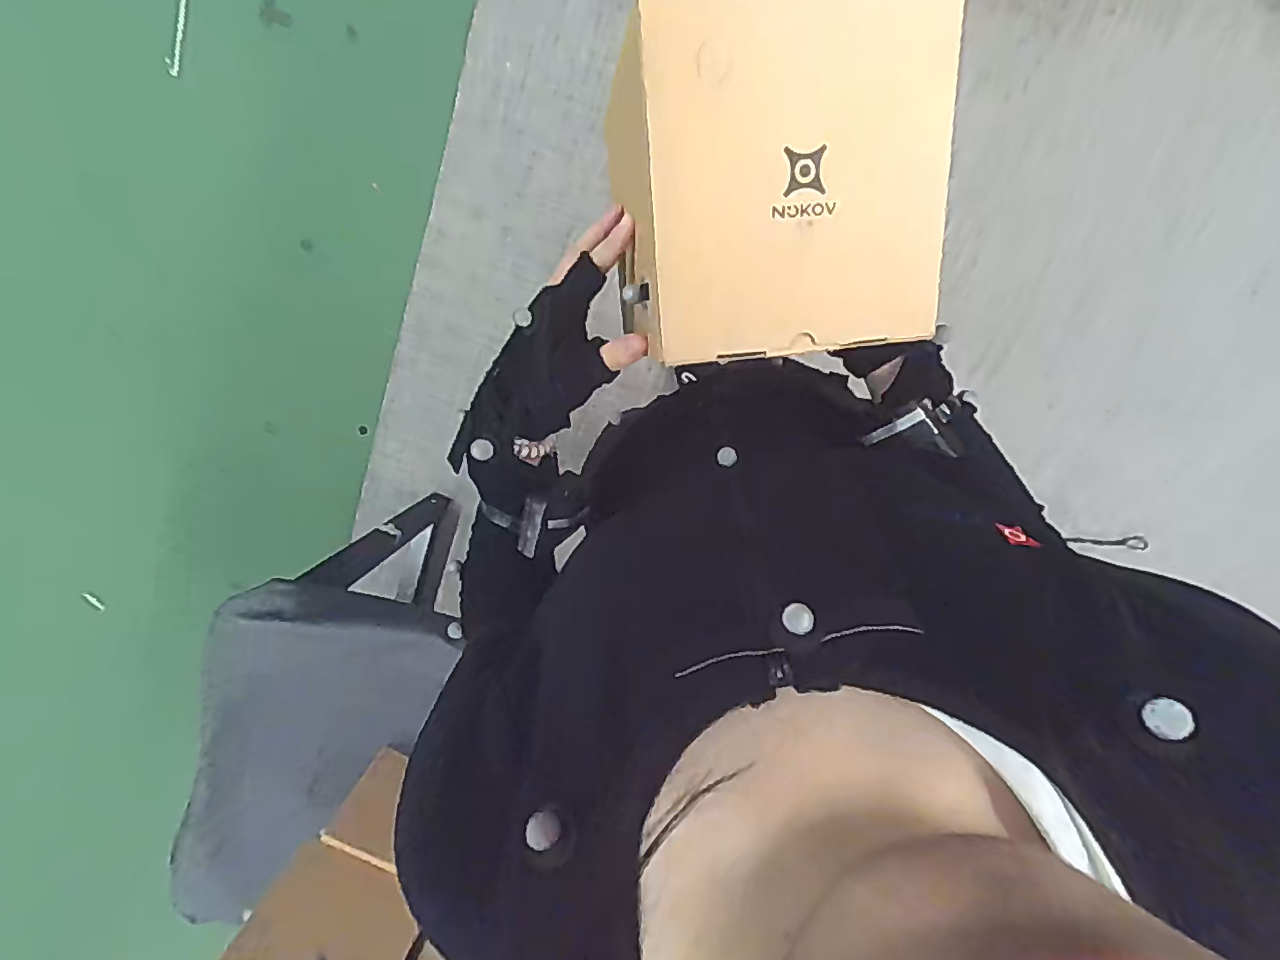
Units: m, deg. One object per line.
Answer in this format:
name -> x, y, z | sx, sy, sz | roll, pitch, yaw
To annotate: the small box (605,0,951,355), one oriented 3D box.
small box -> 0.072, -0.185, 0.364 | 0.168, 0.176, 0.179 | -8, 109, -7
